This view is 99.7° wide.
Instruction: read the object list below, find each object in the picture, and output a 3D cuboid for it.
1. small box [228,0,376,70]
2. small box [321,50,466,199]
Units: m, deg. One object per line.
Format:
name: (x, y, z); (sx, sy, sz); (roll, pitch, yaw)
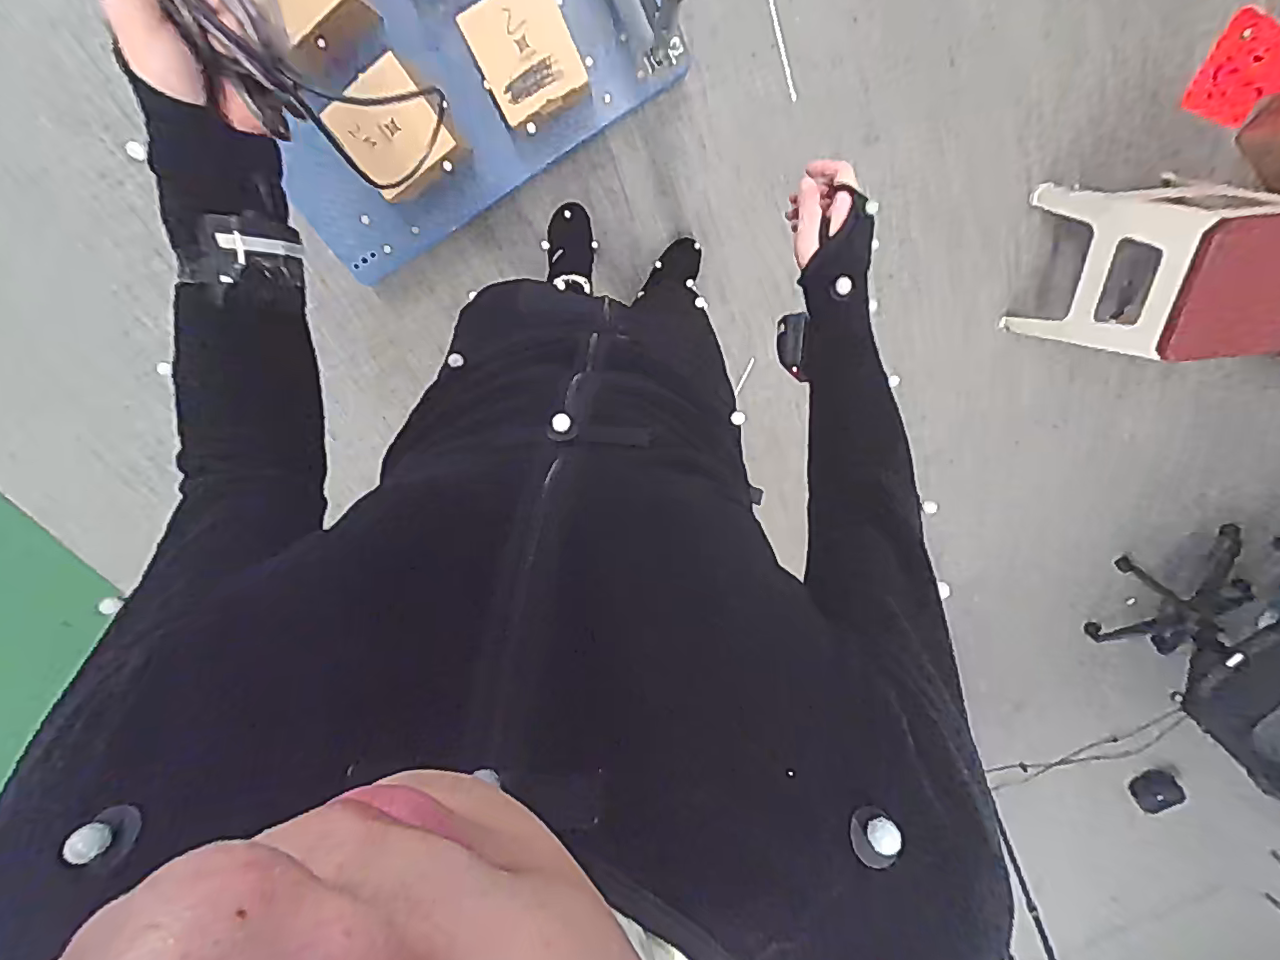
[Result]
small box: (-0.594, -0.849, 0.927); (0.179, 0.176, 0.168); (-31, 118, 11)
small box: (-0.457, -0.671, 1.039); (0.179, 0.176, 0.168); (-31, 116, 13)
